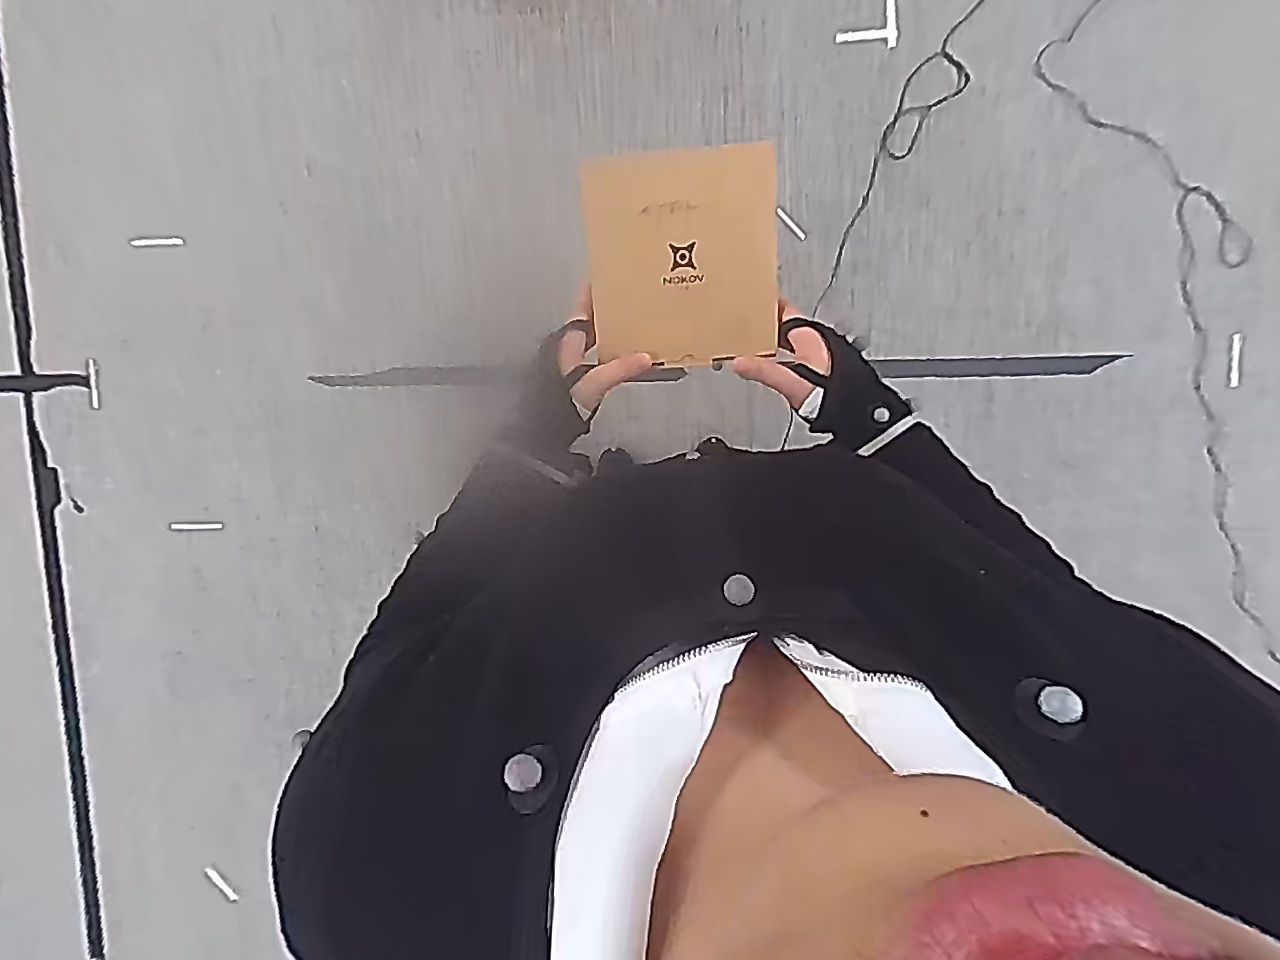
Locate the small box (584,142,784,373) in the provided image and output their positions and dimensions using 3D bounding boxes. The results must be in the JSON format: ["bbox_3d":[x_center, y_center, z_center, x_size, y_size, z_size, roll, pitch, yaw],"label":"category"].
[{"bbox_3d":[0.040,-0.209,0.538,0.168,0.176,0.179,-5,106,0],"label":"small box"}]
